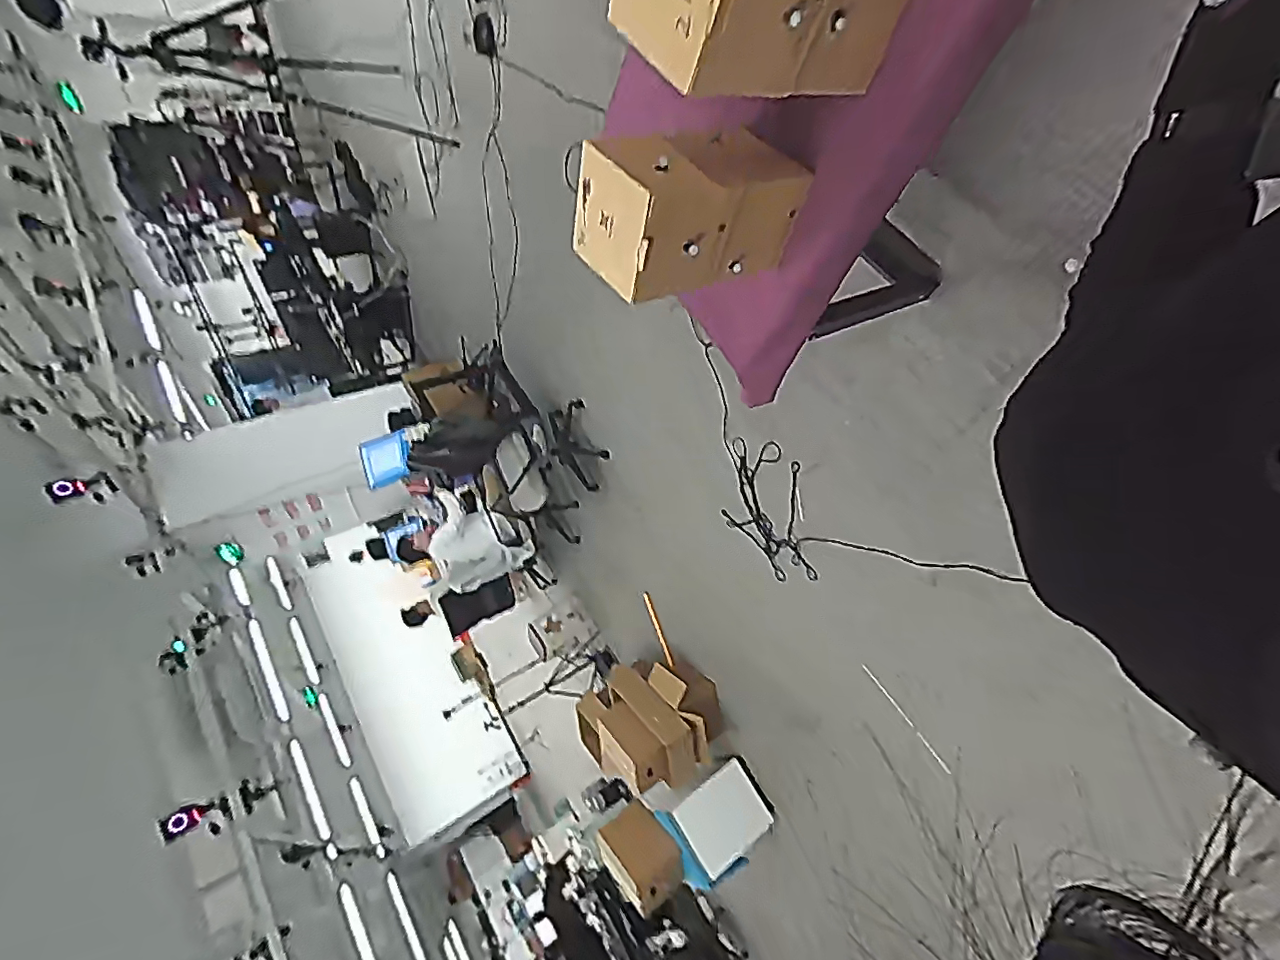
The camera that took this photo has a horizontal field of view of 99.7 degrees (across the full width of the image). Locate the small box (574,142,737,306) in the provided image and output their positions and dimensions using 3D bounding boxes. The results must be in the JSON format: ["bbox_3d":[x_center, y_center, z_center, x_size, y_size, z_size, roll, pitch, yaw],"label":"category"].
[{"bbox_3d":[0.020,-0.401,0.832,0.179,0.176,0.168,50,147,26],"label":"small box"}]

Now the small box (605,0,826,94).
[{"bbox_3d":[0.090,-0.560,0.600,0.179,0.176,0.168,55,149,19],"label":"small box"}]

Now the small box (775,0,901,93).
[{"bbox_3d":[0.217,-0.622,0.685,0.168,0.176,0.179,51,147,25],"label":"small box"}]
